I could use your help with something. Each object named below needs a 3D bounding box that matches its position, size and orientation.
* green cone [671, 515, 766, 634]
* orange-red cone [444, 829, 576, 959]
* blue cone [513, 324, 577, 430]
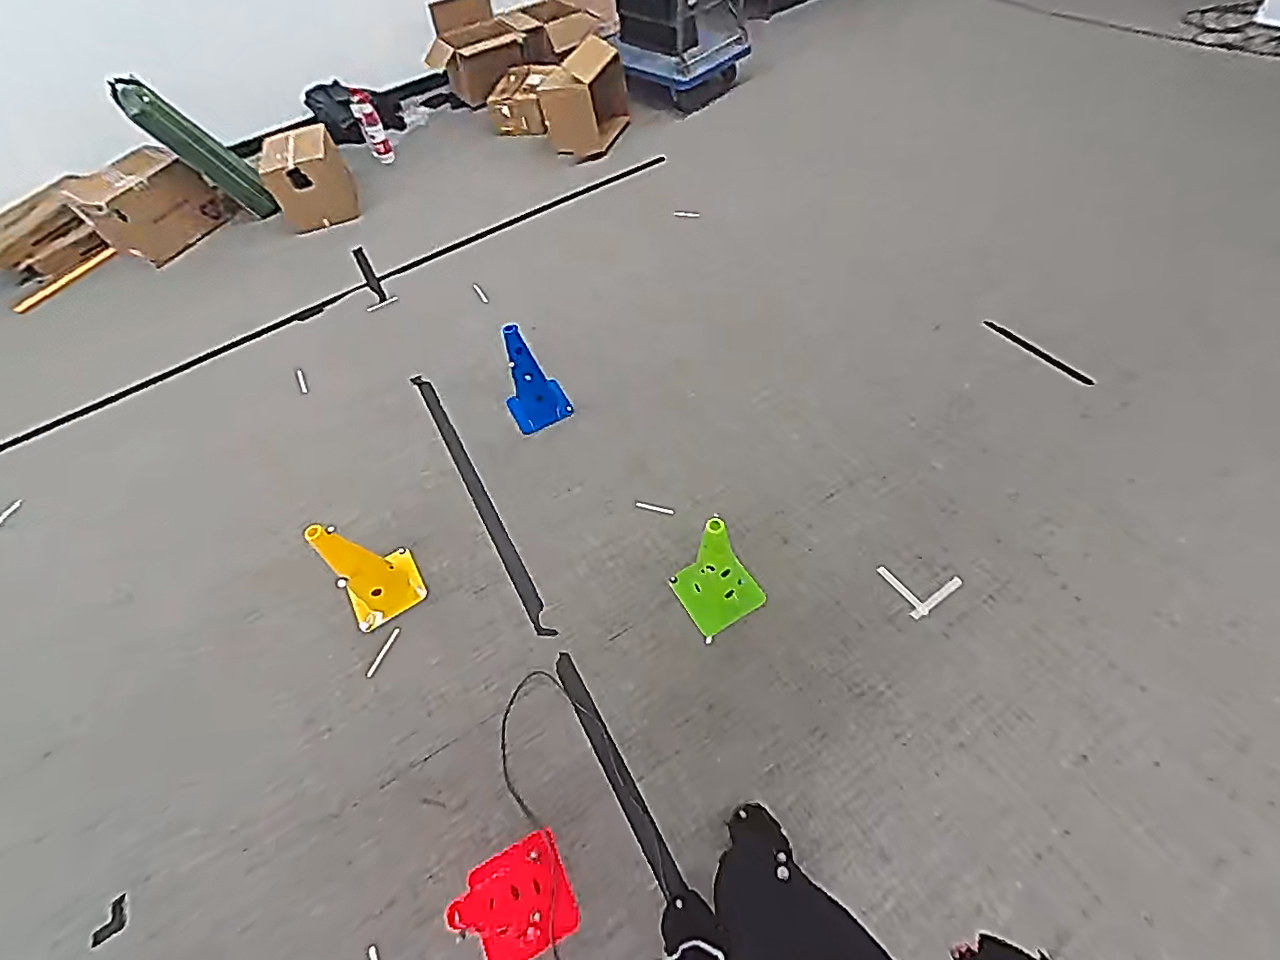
[{"bbox_3d":[0.192,0.199,1.327,0.202,0.368,0.200,-28,57,-13],"label":"green cone"},{"bbox_3d":[-0.273,0.781,0.999,0.199,0.360,0.198,-26,55,-8],"label":"orange-red cone"},{"bbox_3d":[-0.360,-0.360,1.805,0.192,0.380,0.193,-25,56,-10],"label":"blue cone"}]
